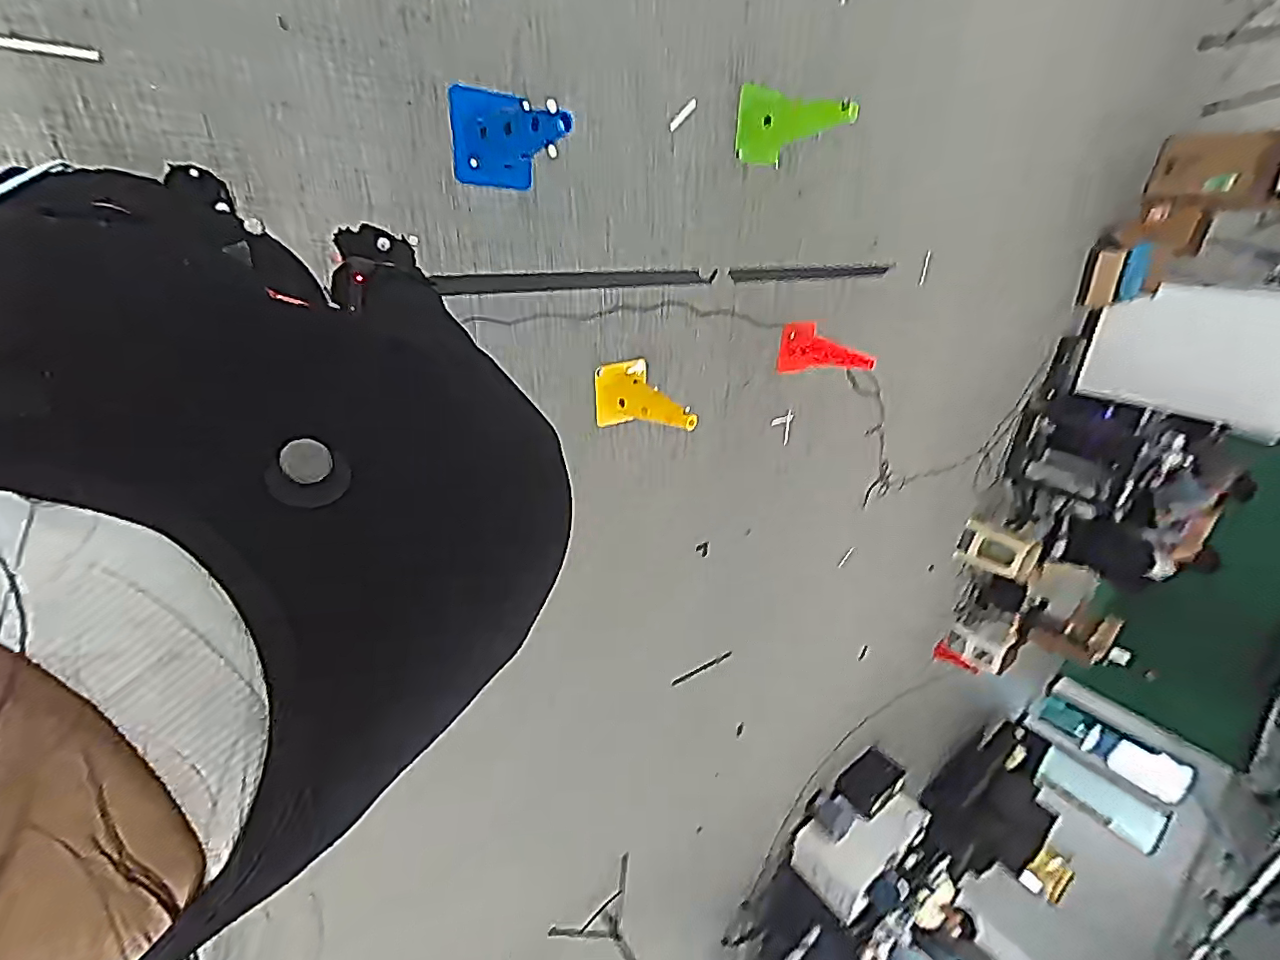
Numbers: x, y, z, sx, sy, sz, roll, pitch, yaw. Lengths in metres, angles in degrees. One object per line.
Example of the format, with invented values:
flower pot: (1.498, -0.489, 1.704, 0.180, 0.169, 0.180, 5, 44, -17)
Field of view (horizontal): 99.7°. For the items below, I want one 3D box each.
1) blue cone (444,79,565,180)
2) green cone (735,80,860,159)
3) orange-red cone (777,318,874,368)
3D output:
blue cone: (-0.267, -0.771, 1.165, 0.193, 0.380, 0.192, -13, 117, -35)
green cone: (0.481, -1.086, 1.597, 0.200, 0.368, 0.202, -16, 119, -33)
orange-red cone: (0.741, -0.499, 2.097, 0.198, 0.360, 0.199, -11, 118, -33)
